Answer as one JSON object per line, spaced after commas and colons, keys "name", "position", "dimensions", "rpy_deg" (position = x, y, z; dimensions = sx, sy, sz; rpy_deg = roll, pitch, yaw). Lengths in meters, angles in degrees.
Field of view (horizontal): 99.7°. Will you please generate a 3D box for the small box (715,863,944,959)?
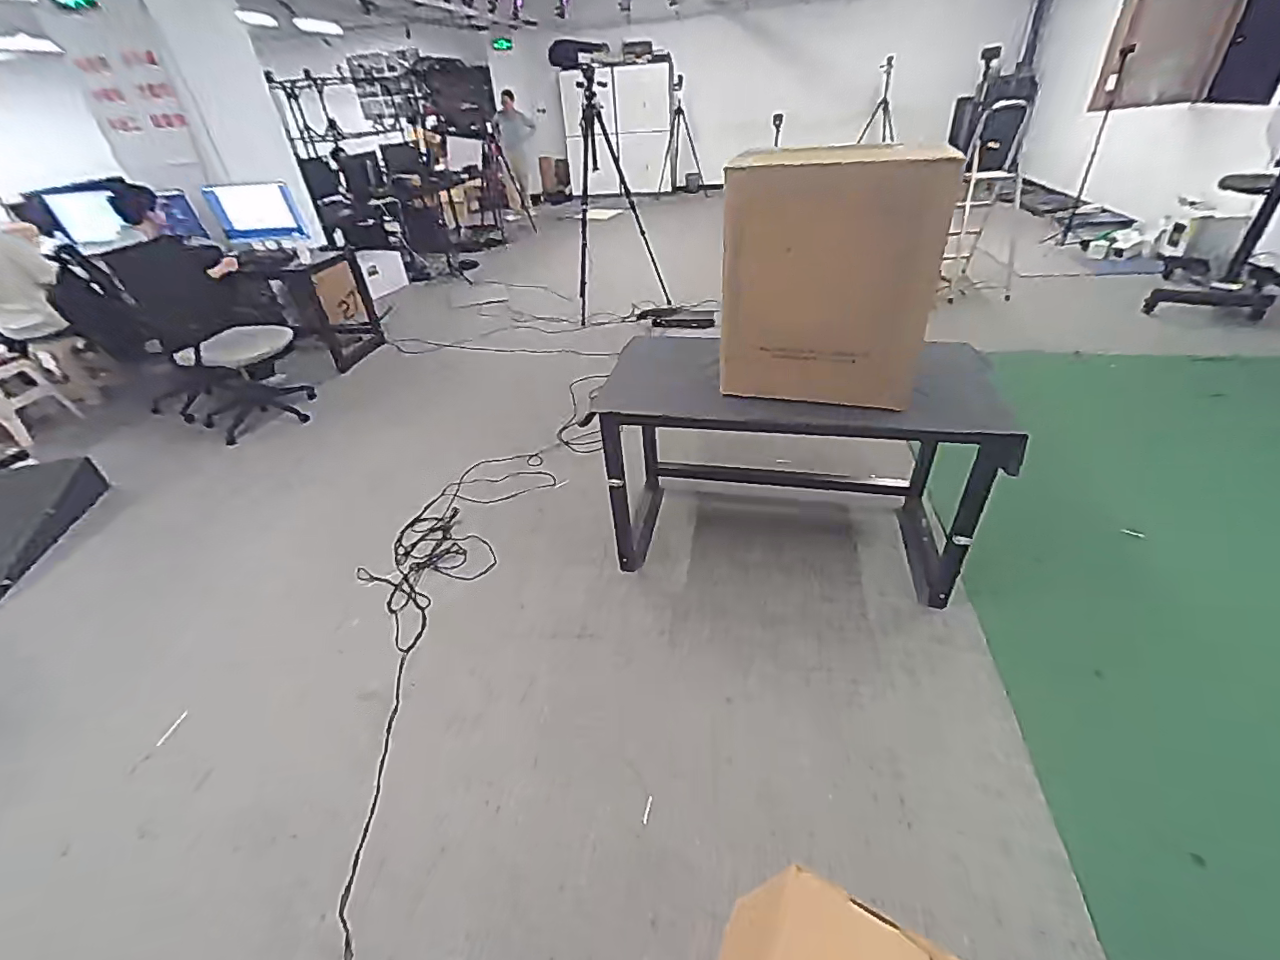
{"name": "small box", "position": [0.110, 0.363, 0.297], "dimensions": [0.168, 0.176, 0.179], "rpy_deg": [24, 48, 17]}
